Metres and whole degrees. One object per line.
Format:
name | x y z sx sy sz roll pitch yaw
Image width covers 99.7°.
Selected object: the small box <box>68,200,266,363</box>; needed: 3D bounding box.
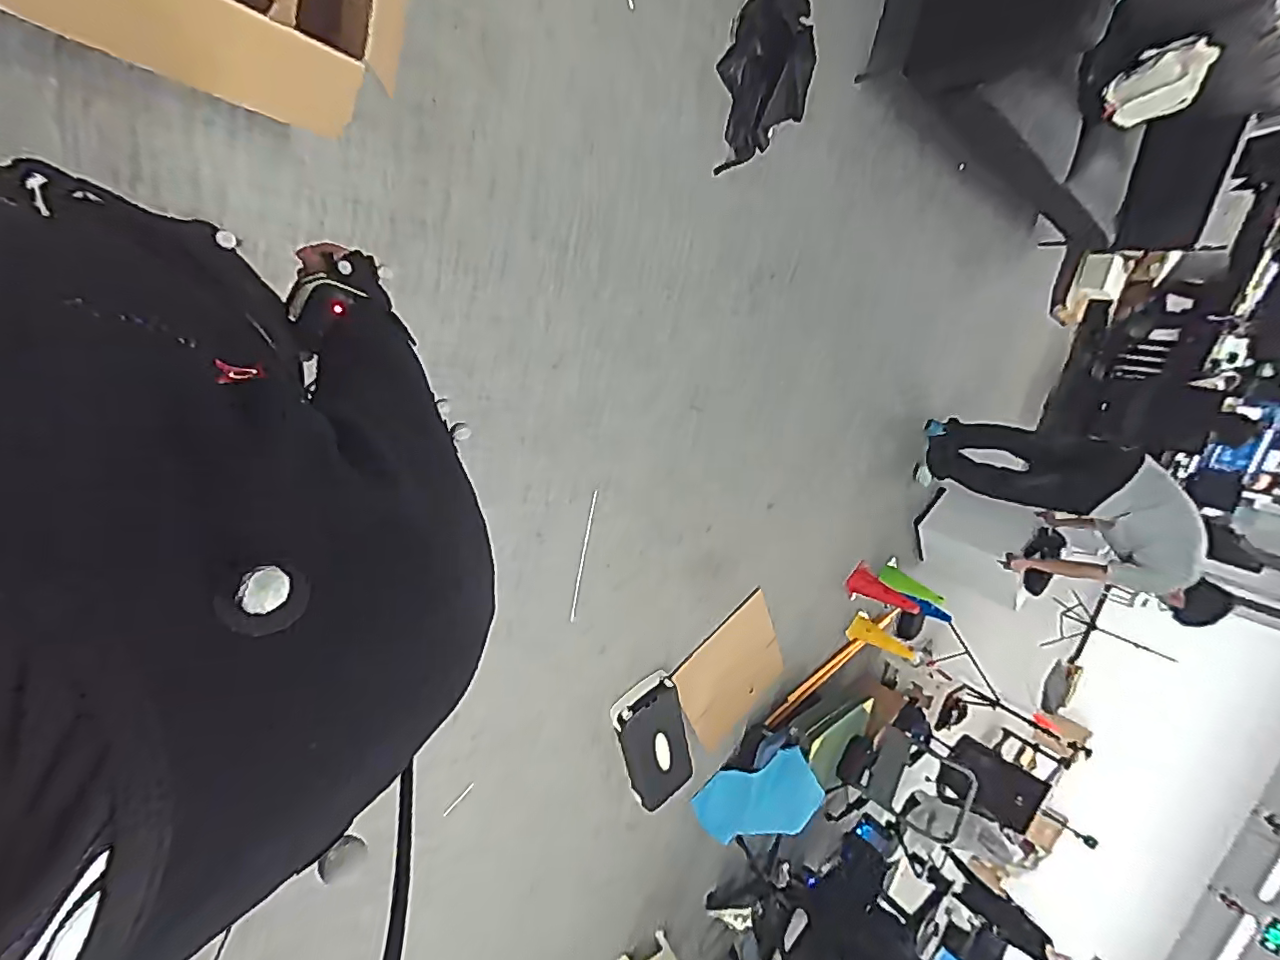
small box | -0.787 -0.324 0.919 0.176 0.168 0.179 -28 144 6
